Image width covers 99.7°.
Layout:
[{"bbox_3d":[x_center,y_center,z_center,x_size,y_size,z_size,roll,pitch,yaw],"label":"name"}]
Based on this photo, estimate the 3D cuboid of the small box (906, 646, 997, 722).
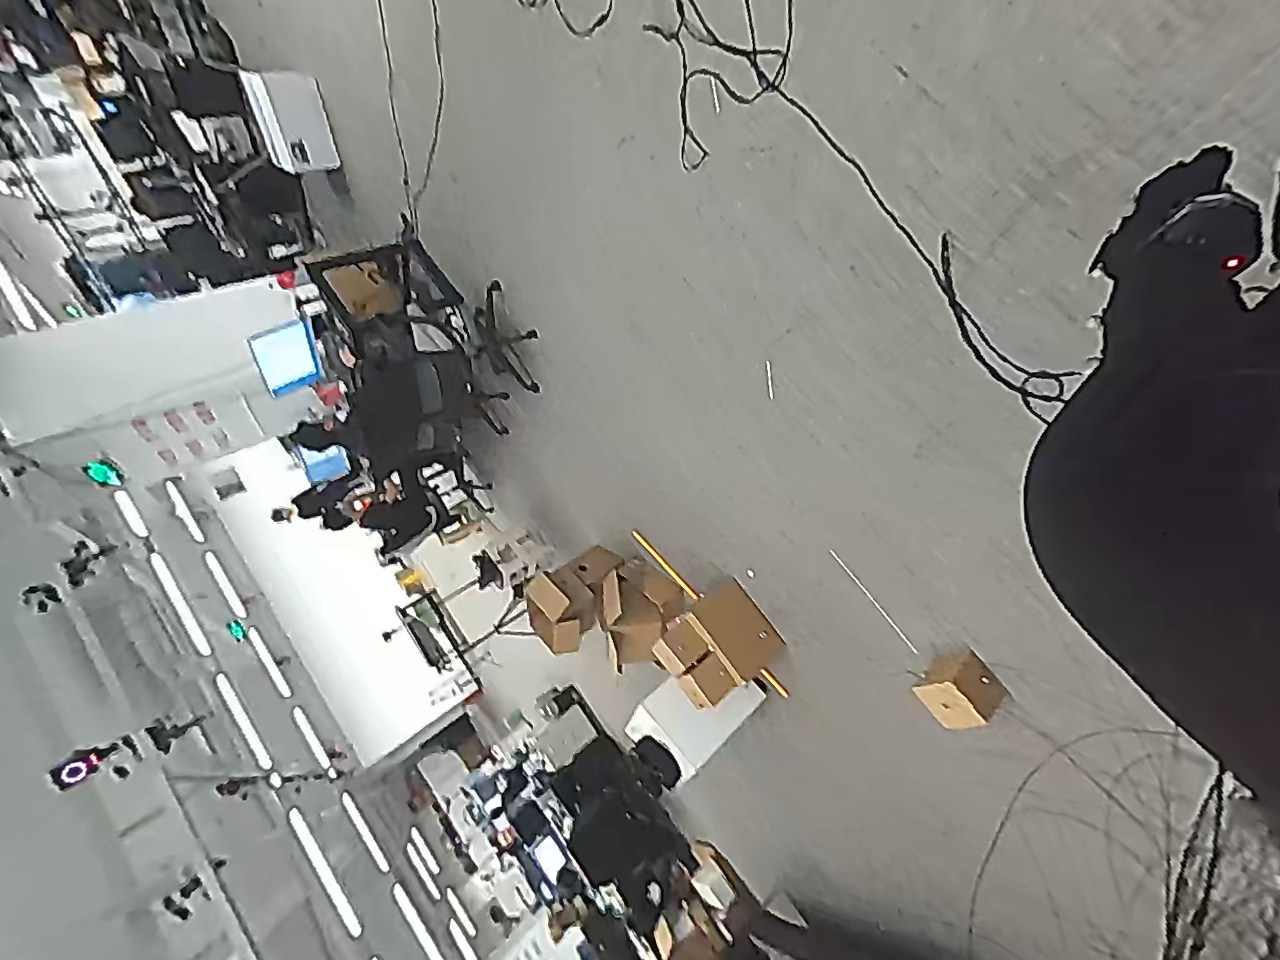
[{"bbox_3d":[1.054,0.688,1.829,0.168,0.176,0.179,51,148,11],"label":"small box"}]
